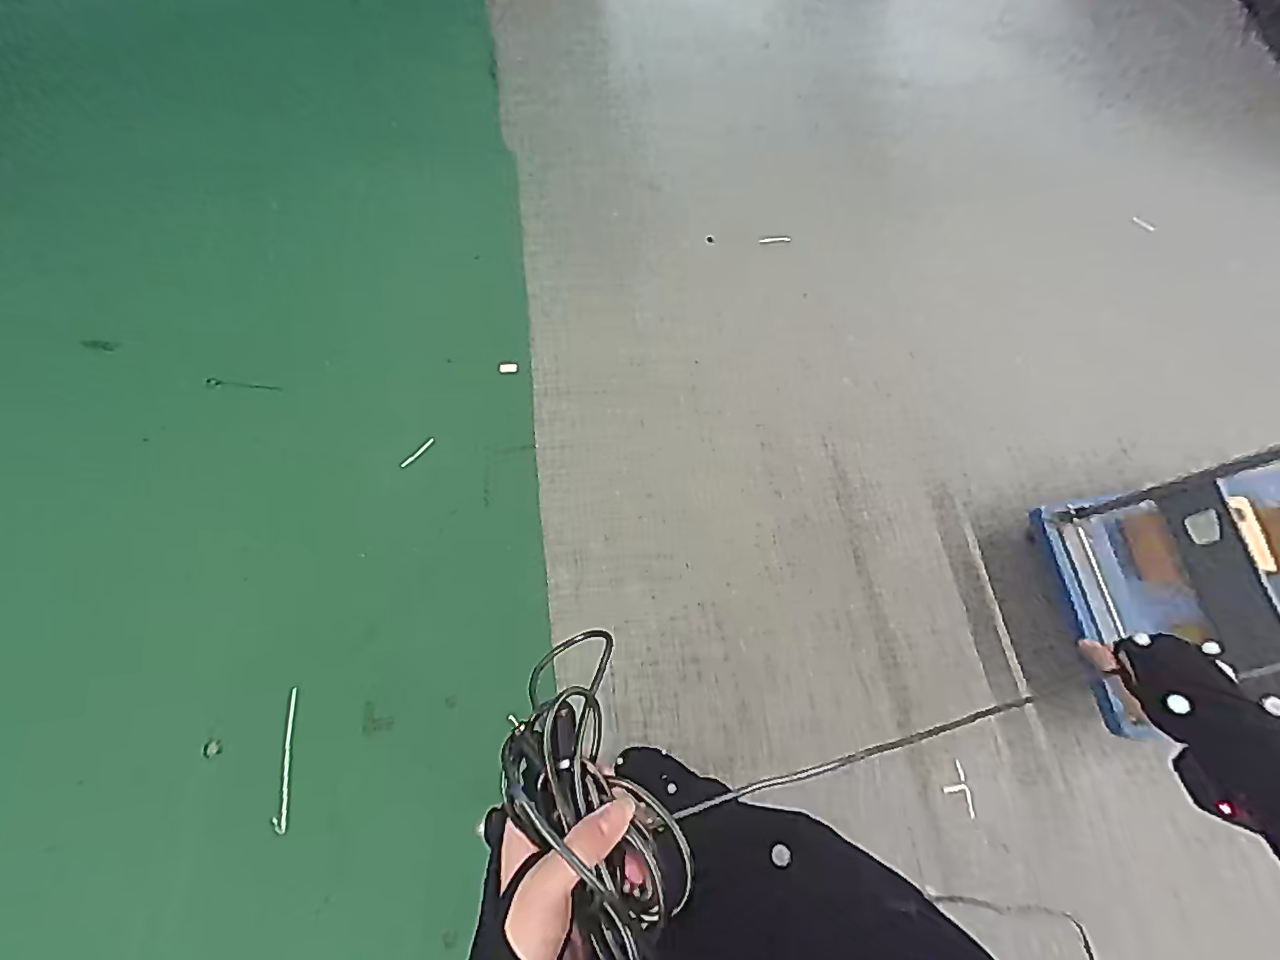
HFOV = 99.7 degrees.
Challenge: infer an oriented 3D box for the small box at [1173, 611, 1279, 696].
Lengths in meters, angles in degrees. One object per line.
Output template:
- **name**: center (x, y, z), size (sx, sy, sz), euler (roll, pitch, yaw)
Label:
- **small box**: center (1.411, 0.395, 1.243), size (0.179, 0.176, 0.168), euler (-6, 72, -4)

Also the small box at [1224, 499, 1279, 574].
- **small box**: center (1.627, 0.130, 1.340), size (0.179, 0.176, 0.168), euler (-10, 73, -6)
